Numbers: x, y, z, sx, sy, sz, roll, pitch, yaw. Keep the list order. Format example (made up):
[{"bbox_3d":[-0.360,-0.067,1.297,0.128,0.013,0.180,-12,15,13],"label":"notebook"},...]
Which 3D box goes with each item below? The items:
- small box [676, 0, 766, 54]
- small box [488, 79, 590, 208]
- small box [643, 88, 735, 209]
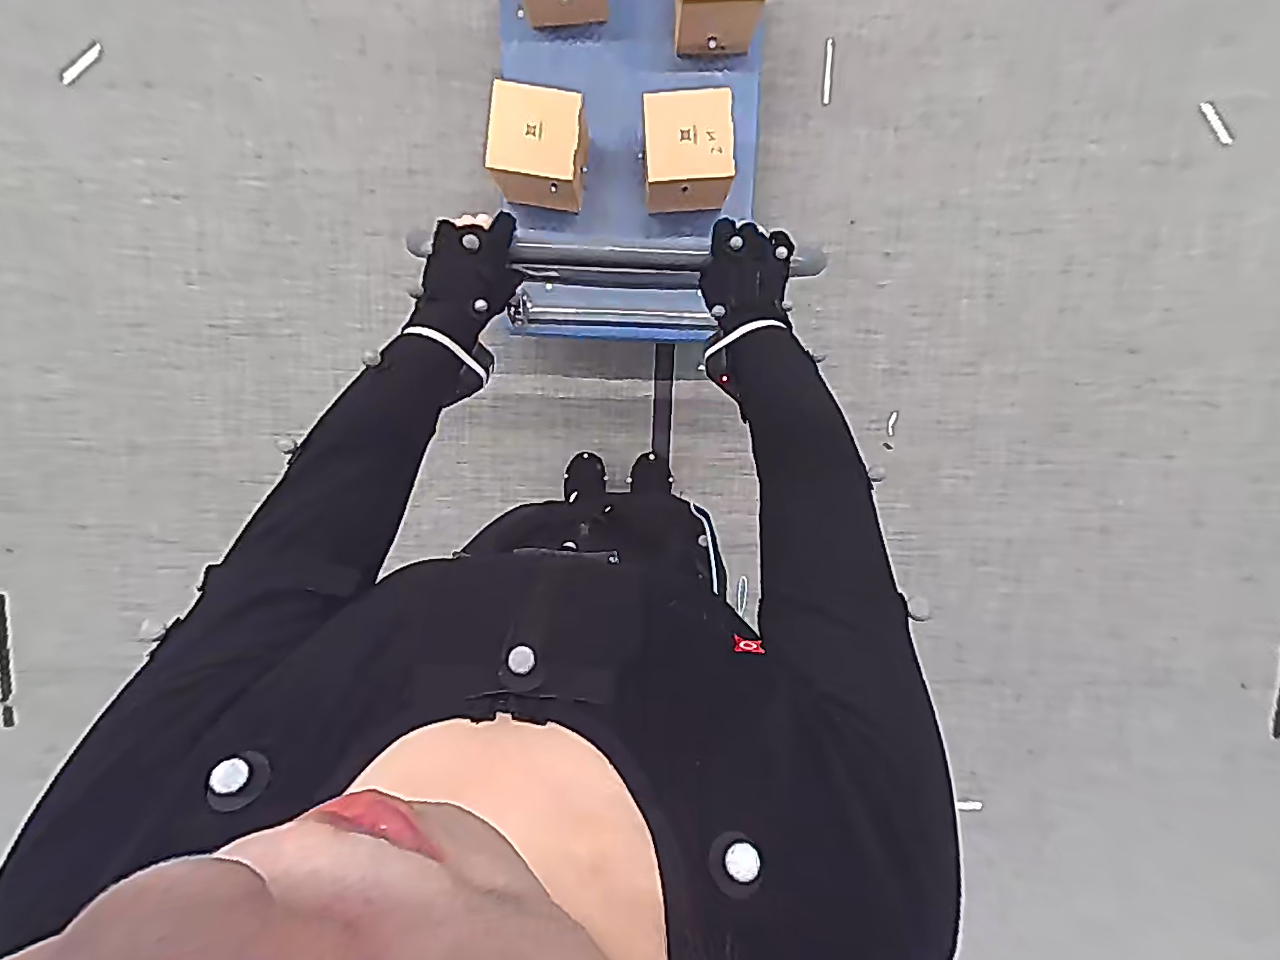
[{"bbox_3d":[0.161,-1.021,1.105,0.168,0.176,0.179,-2,98,0],"label":"small box"},{"bbox_3d":[-0.206,-0.699,1.143,0.179,0.176,0.168,8,97,-3],"label":"small box"},{"bbox_3d":[0.099,-0.690,1.145,0.179,0.176,0.168,-3,97,0],"label":"small box"}]
